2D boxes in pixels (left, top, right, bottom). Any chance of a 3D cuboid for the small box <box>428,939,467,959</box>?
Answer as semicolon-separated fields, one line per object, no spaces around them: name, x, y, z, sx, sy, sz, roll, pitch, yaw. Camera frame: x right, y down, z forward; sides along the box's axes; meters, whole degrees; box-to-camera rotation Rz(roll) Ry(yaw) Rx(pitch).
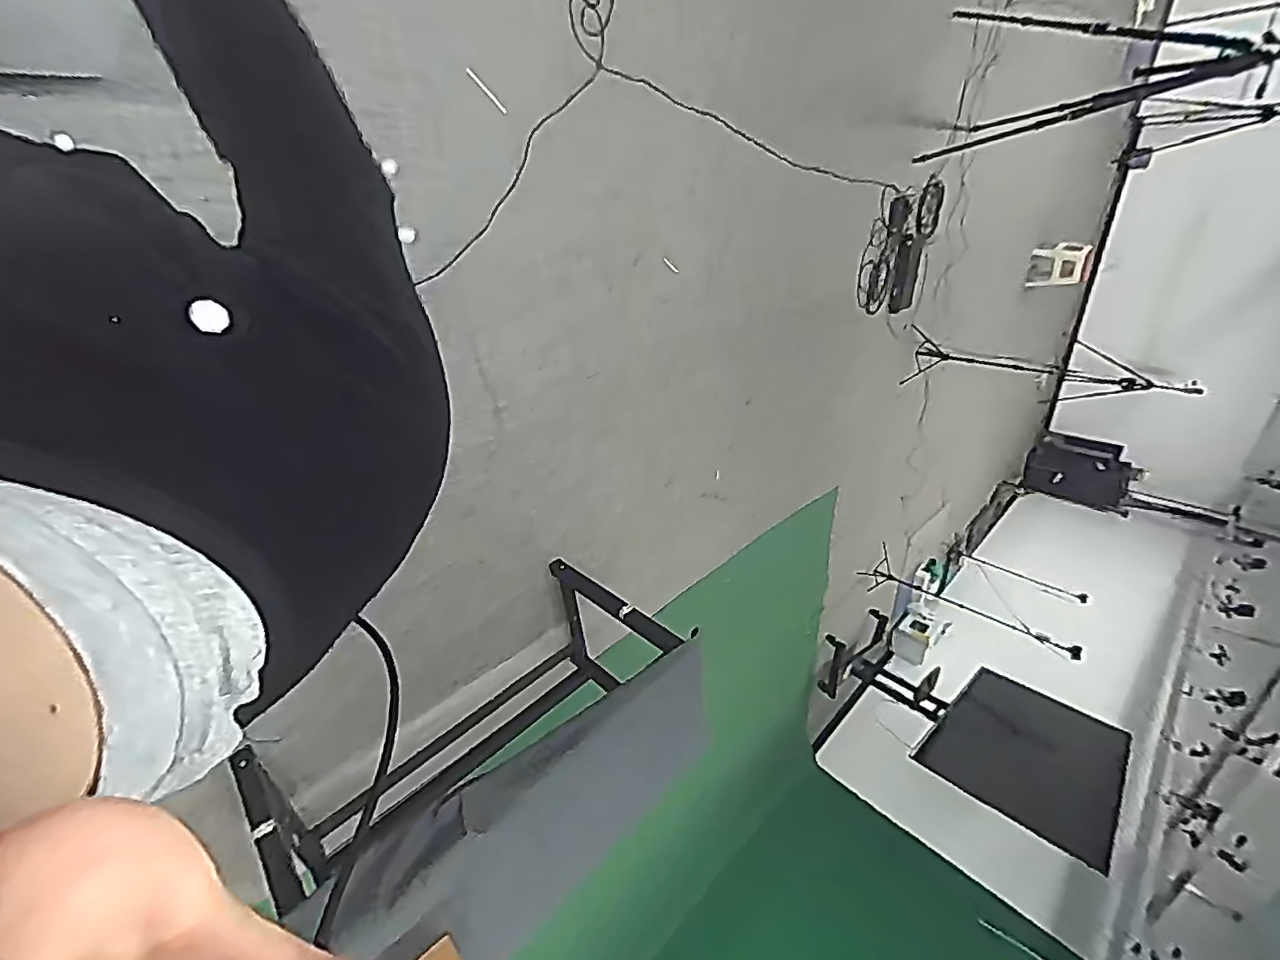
small box;-0.459;1.224;1.239;0.179;0.176;0.168;-23;122;-39
